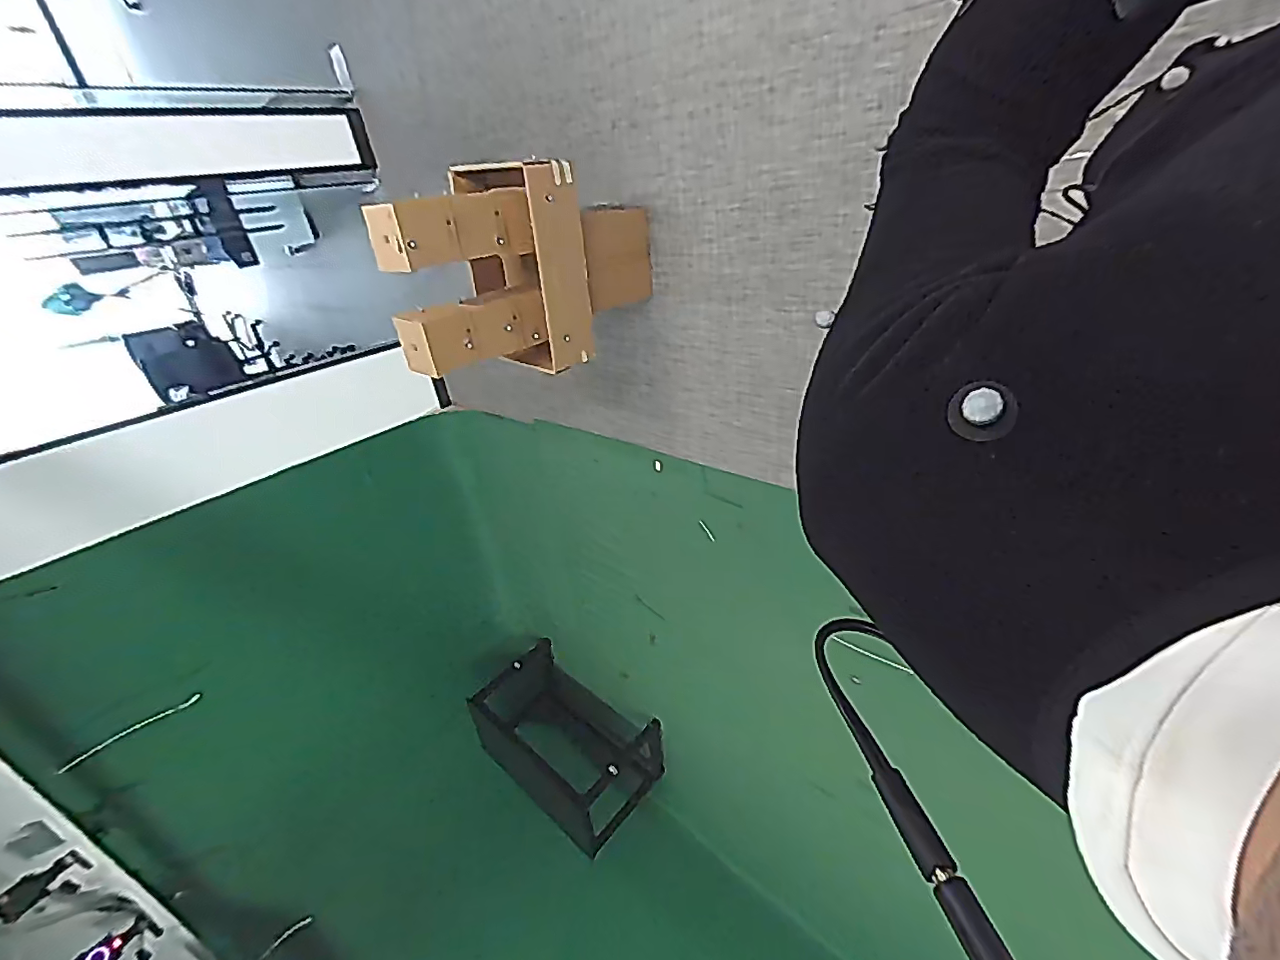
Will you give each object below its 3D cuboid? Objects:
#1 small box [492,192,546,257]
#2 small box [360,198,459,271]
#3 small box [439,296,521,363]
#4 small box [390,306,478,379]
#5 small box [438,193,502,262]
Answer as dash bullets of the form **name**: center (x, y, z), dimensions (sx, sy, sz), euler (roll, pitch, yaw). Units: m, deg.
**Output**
- **small box**: center (-0.420, -0.806, 1.699), dimensions (0.179, 0.176, 0.168), euler (23, 129, 34)
- **small box**: center (-0.627, -0.674, 1.481), dimensions (0.179, 0.176, 0.168), euler (19, 127, 37)
- **small box**: center (-0.512, -0.489, 1.738), dimensions (0.179, 0.176, 0.168), euler (20, 128, 37)
- **small box**: center (-0.618, -0.422, 1.634), dimensions (0.179, 0.176, 0.168), euler (20, 129, 37)
- **small box**: center (-0.524, -0.743, 1.588), dimensions (0.179, 0.176, 0.168), euler (19, 127, 38)
